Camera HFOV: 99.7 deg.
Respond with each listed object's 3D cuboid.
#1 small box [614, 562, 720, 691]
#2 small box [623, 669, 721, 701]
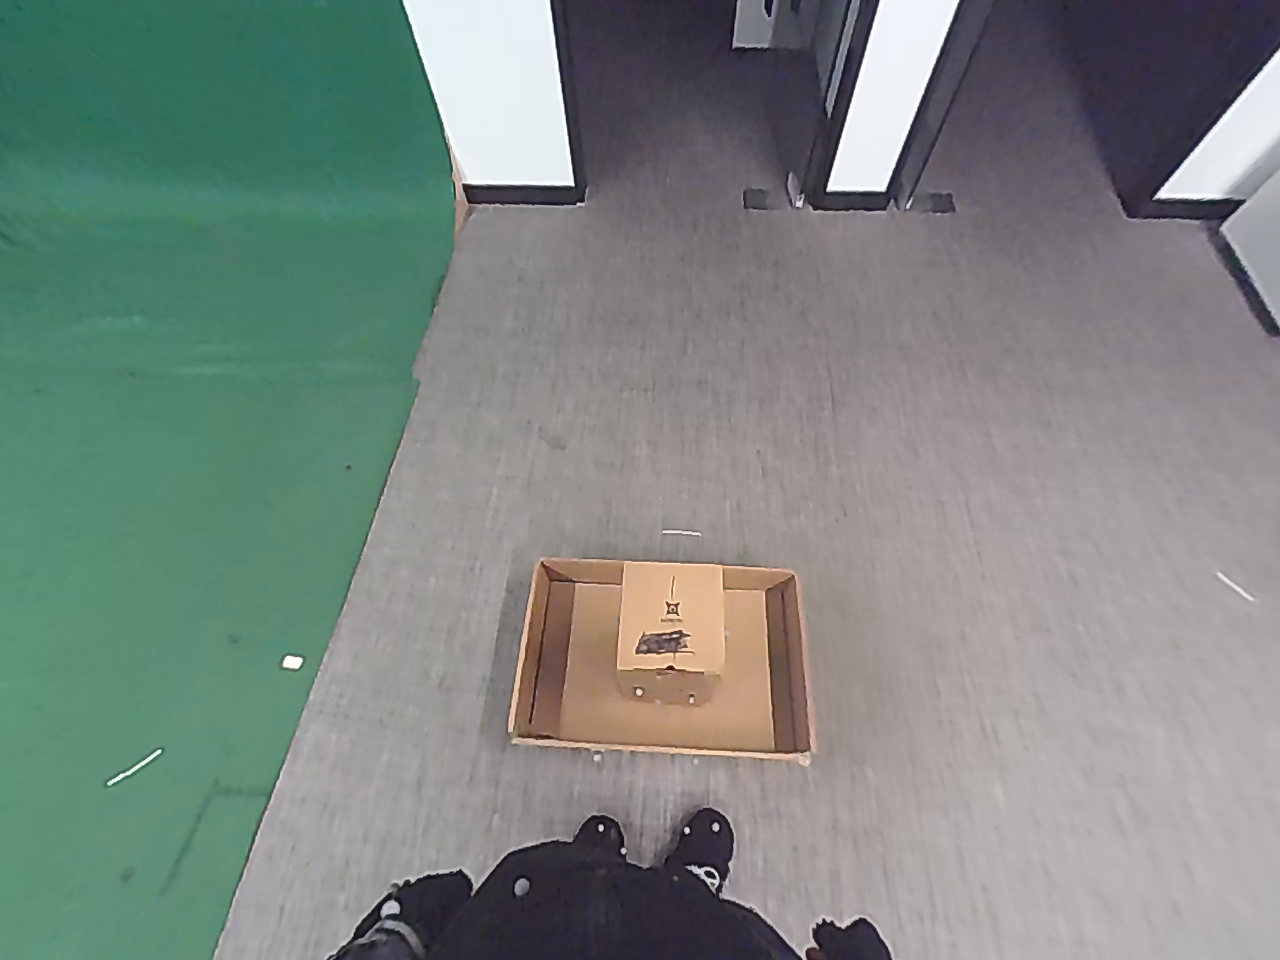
[{"bbox_3d":[0.050,0.256,0.927,0.168,0.176,0.179,2,59,3],"label":"small box"},{"bbox_3d":[0.057,0.331,1.055,0.179,0.176,0.168,-1,60,1],"label":"small box"}]
